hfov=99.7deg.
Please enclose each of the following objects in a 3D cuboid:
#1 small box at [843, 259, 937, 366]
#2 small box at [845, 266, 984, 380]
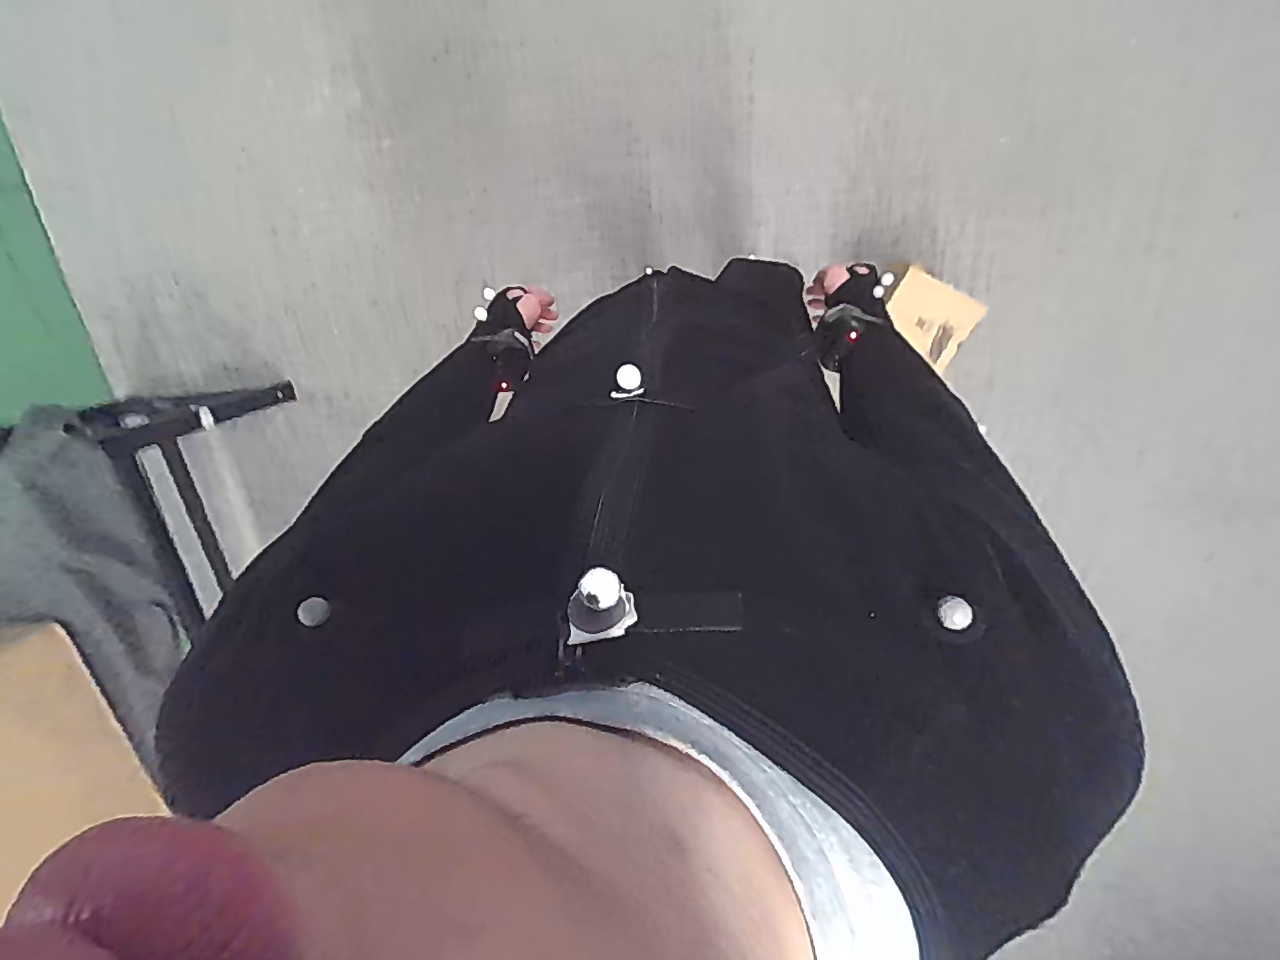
[{"bbox_3d":[0.617,-0.405,1.296,0.168,0.176,0.179,39,112,-8],"label":"small box"},{"bbox_3d":[0.570,-0.339,1.150,0.179,0.176,0.168,28,112,-3],"label":"small box"}]
